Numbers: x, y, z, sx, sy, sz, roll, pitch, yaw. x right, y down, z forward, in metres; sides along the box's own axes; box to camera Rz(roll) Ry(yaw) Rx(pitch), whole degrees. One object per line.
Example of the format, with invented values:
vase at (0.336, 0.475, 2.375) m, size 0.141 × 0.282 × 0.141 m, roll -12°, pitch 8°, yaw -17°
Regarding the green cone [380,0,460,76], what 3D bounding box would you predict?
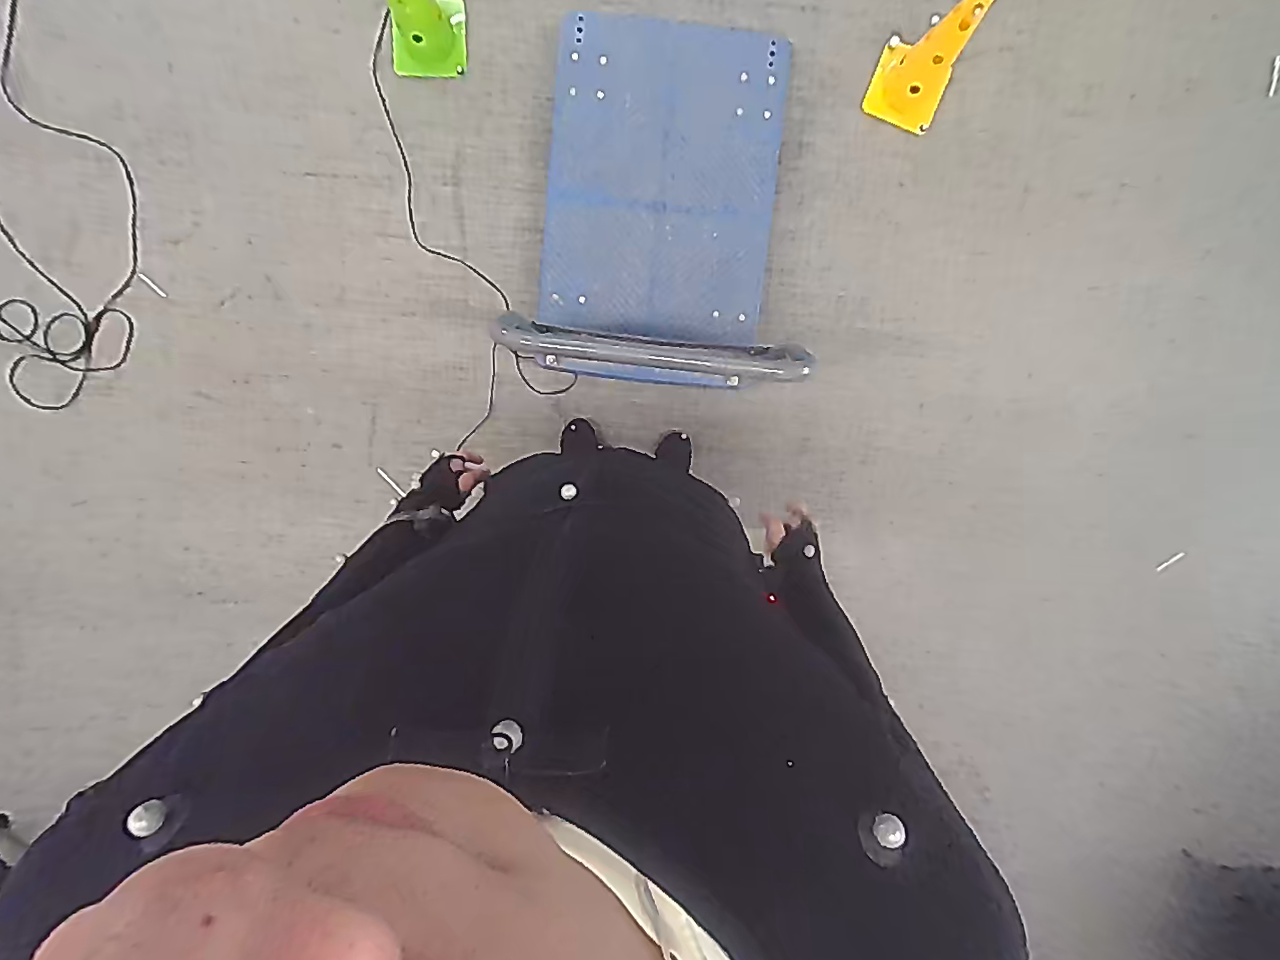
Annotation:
green cone at (-0.592, -1.186, 1.293) m, size 0.202 × 0.368 × 0.200 m, roll 0°, pitch 97°, yaw 1°
